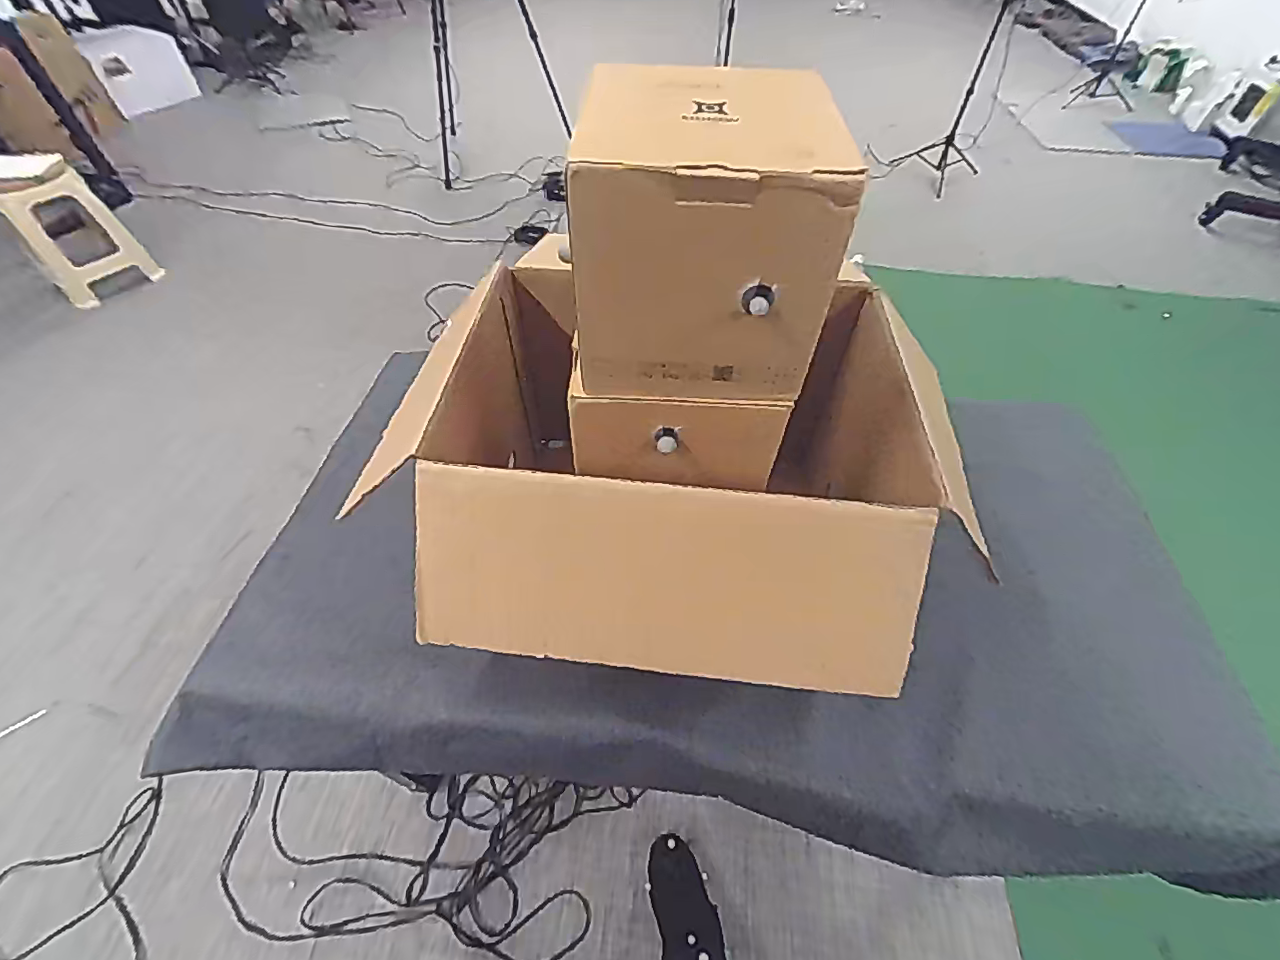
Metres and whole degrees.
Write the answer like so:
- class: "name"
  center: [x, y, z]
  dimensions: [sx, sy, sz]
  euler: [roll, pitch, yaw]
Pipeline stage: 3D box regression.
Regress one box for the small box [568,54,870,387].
- class: "small box"
  center: [0.044, -0.187, 0.402]
  dimensions: [0.168, 0.176, 0.179]
  euler: [3, 51, -1]
